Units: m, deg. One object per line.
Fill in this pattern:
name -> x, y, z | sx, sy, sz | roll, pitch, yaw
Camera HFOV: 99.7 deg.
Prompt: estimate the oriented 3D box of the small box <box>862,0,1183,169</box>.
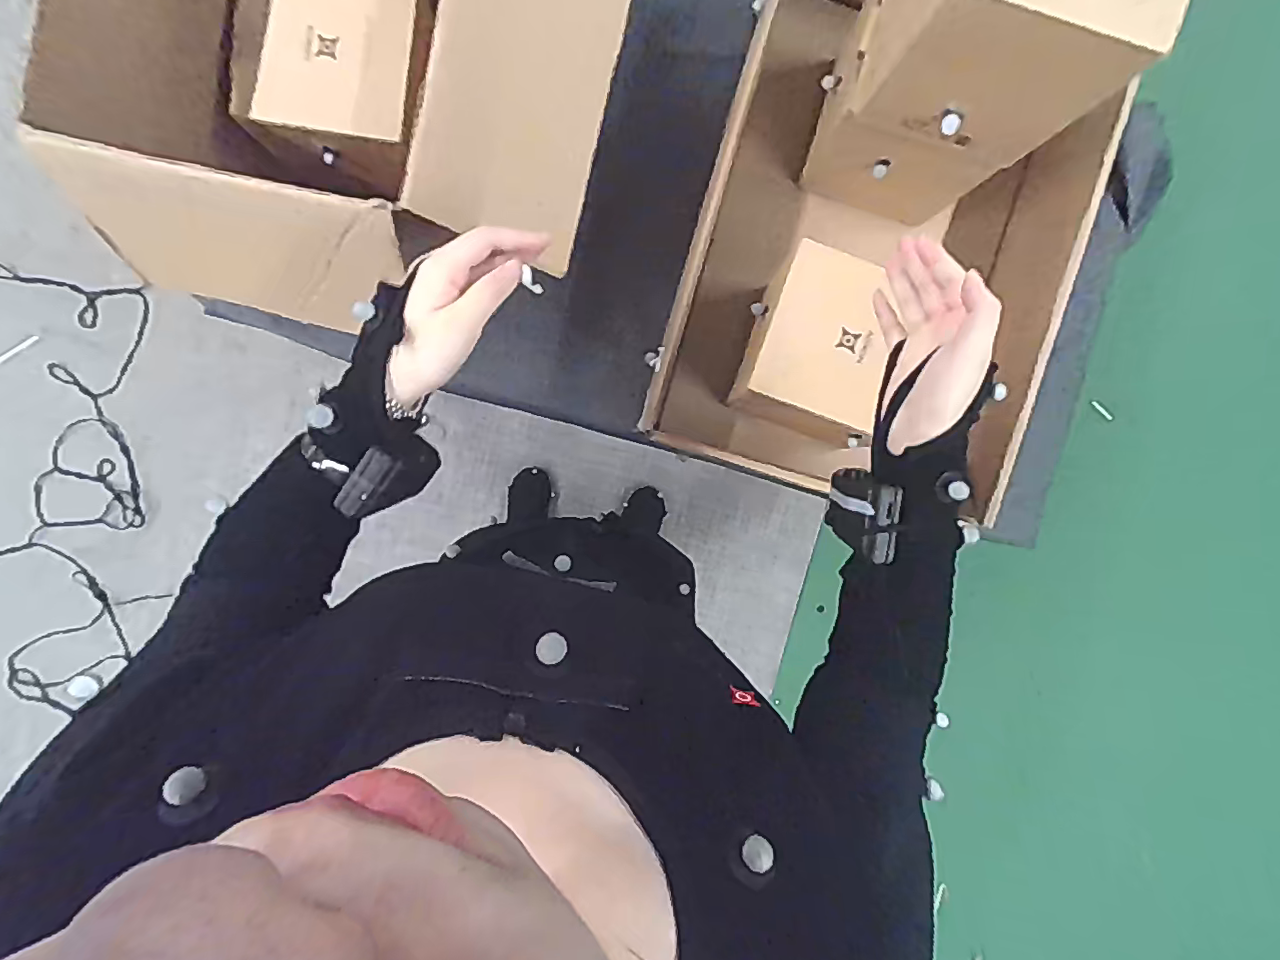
small box -> 0.316, -0.410, 0.458 | 0.168, 0.176, 0.179 | 16, 95, -3
